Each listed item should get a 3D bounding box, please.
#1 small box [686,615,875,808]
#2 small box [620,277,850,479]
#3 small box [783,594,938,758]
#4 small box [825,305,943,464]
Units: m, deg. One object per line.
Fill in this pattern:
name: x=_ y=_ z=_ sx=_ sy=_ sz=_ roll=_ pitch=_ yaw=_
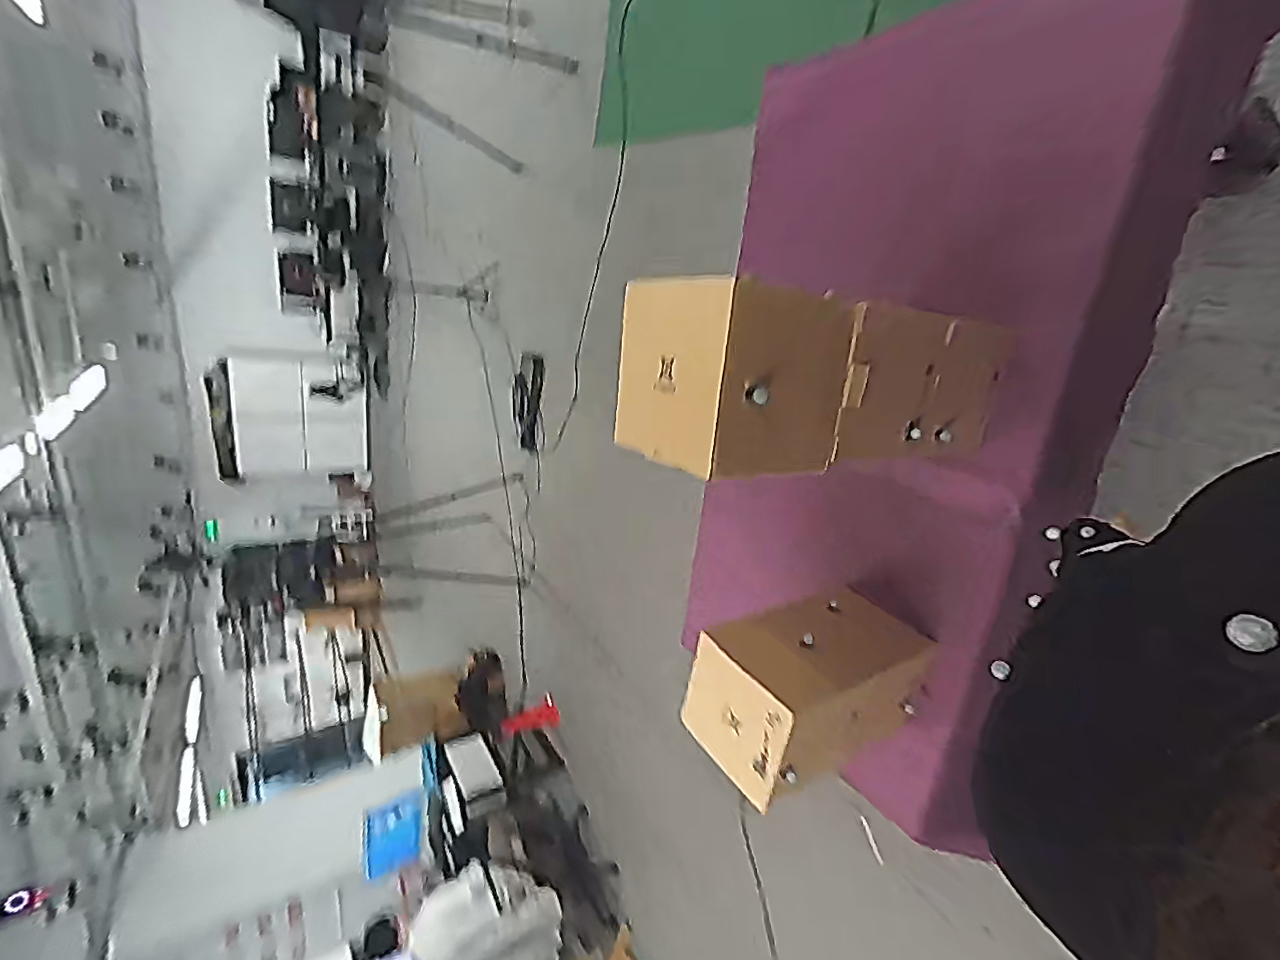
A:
small box: x=0.194 y=0.311 z=0.771 sx=0.179 sy=0.176 sz=0.168 roll=34 pitch=123 yaw=50
small box: x=0.097 y=-0.110 z=0.574 sx=0.168 sy=0.176 sz=0.179 roll=25 pitch=115 yaw=53
small box: x=0.330 y=0.300 z=0.864 sx=0.179 sy=0.176 sz=0.168 roll=33 pitch=121 yaw=48
small box: x=0.234 y=-0.124 z=0.663 sx=0.179 sy=0.176 sz=0.168 roll=27 pitch=116 yaw=53
